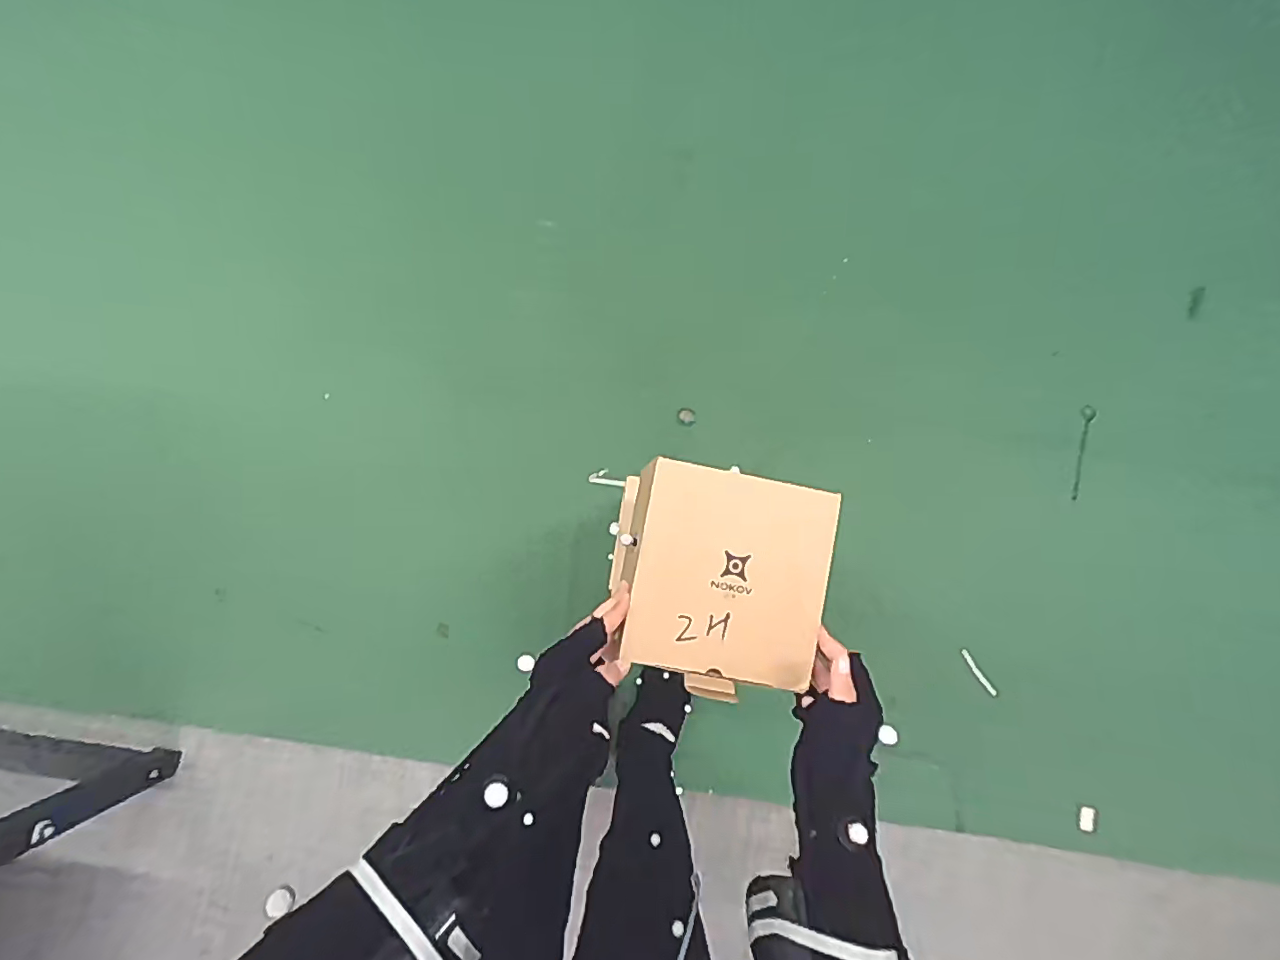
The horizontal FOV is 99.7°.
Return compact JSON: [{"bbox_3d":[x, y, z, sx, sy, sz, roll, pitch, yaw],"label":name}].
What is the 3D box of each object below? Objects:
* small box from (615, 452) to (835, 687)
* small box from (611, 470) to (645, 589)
[{"bbox_3d":[0.070,0.080,0.540,0.168,0.176,0.179,11,87,-3],"label":"small box"},{"bbox_3d":[0.057,0.090,0.805,0.179,0.176,0.168,10,82,0],"label":"small box"}]
